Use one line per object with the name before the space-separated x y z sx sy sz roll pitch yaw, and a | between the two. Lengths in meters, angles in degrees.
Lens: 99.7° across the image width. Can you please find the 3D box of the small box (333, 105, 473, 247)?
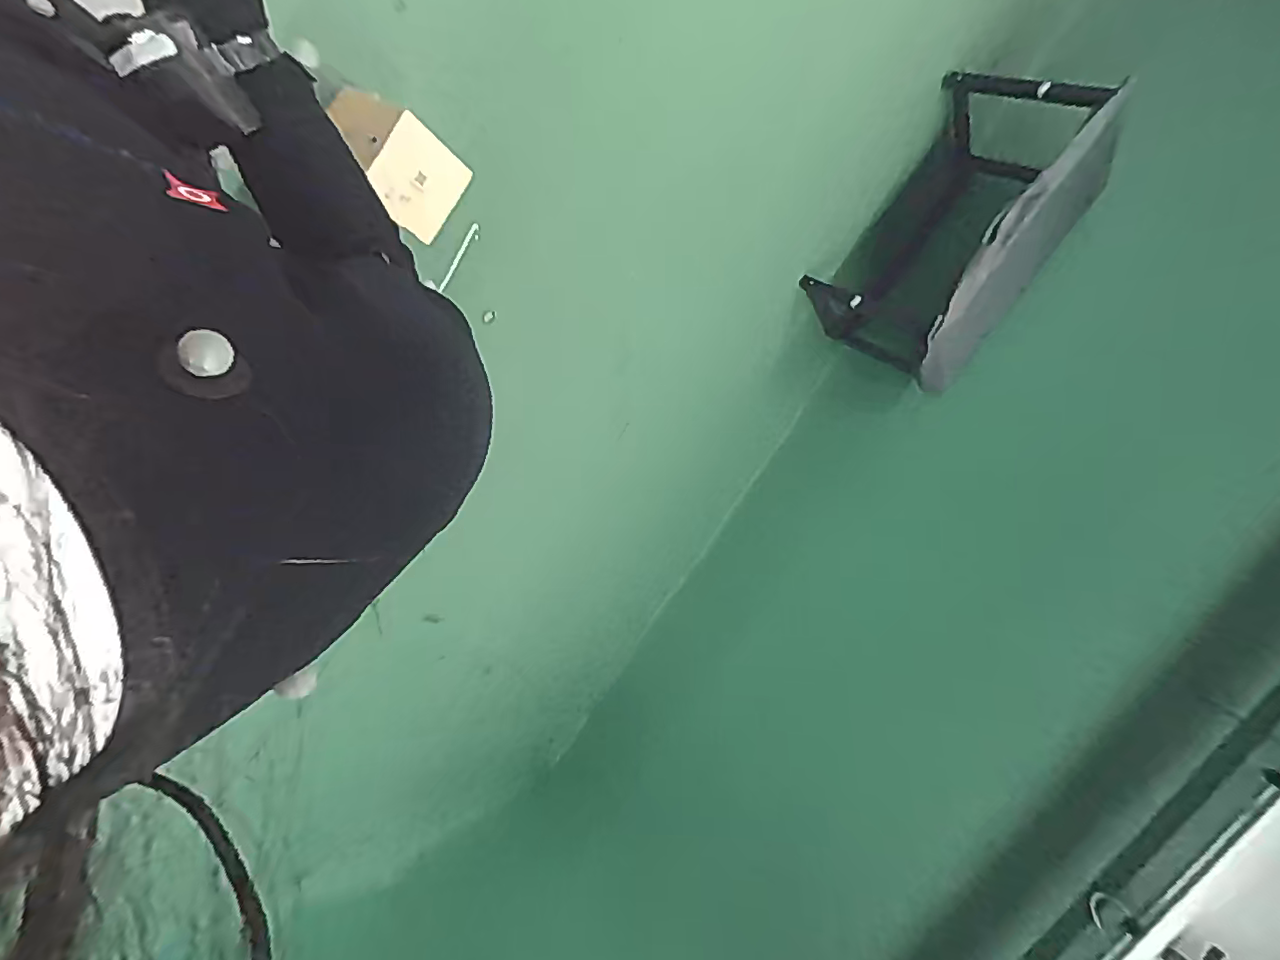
small box | -0.481 -0.612 1.087 0.179 0.176 0.168 -54 146 5
